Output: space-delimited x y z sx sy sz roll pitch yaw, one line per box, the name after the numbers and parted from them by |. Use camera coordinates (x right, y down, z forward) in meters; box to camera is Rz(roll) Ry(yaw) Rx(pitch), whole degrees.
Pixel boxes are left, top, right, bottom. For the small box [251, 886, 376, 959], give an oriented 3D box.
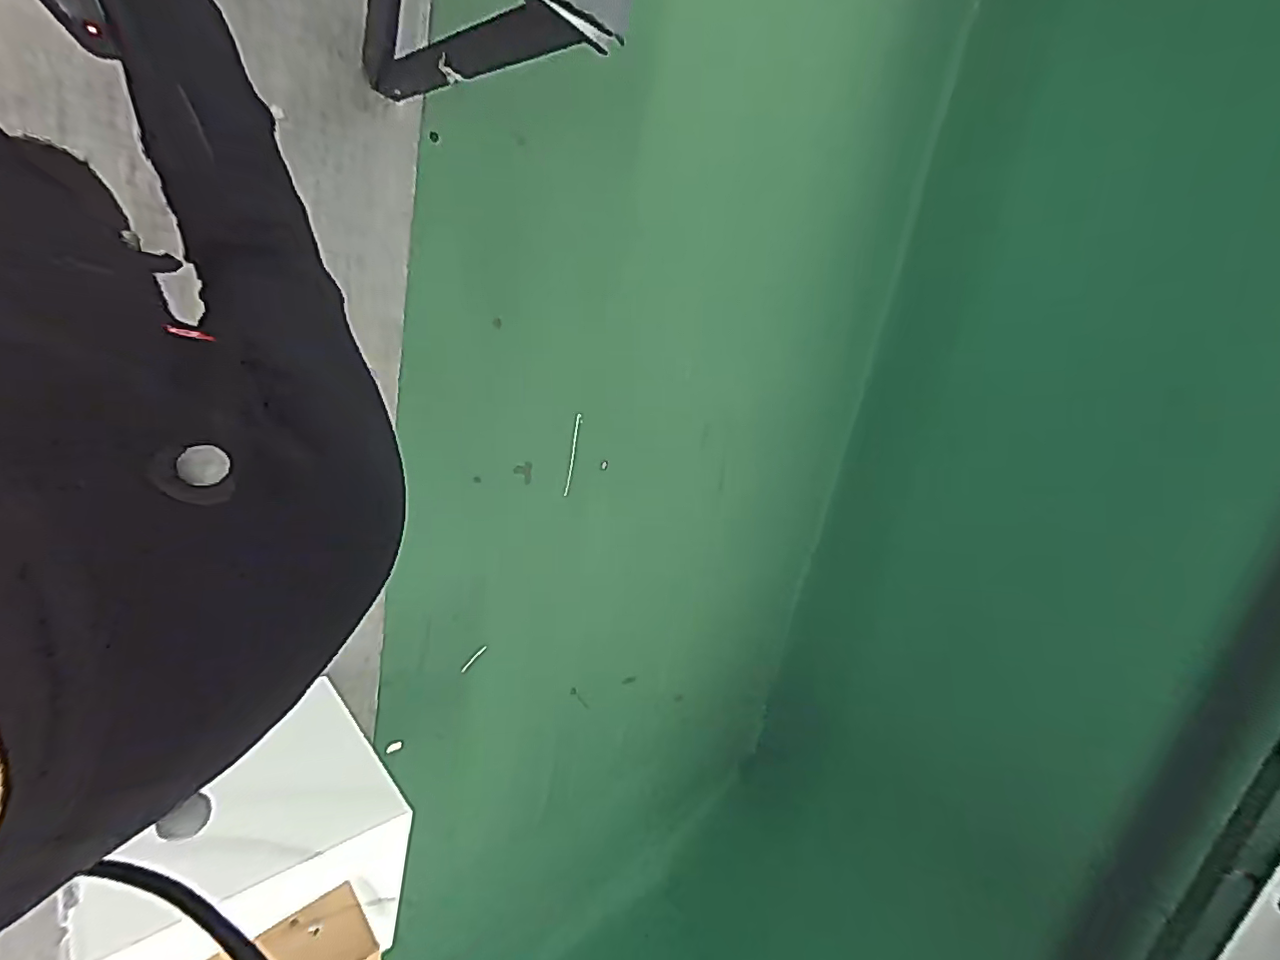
-0.624 0.946 1.038 0.168 0.176 0.179 -12 117 -45 | small box
